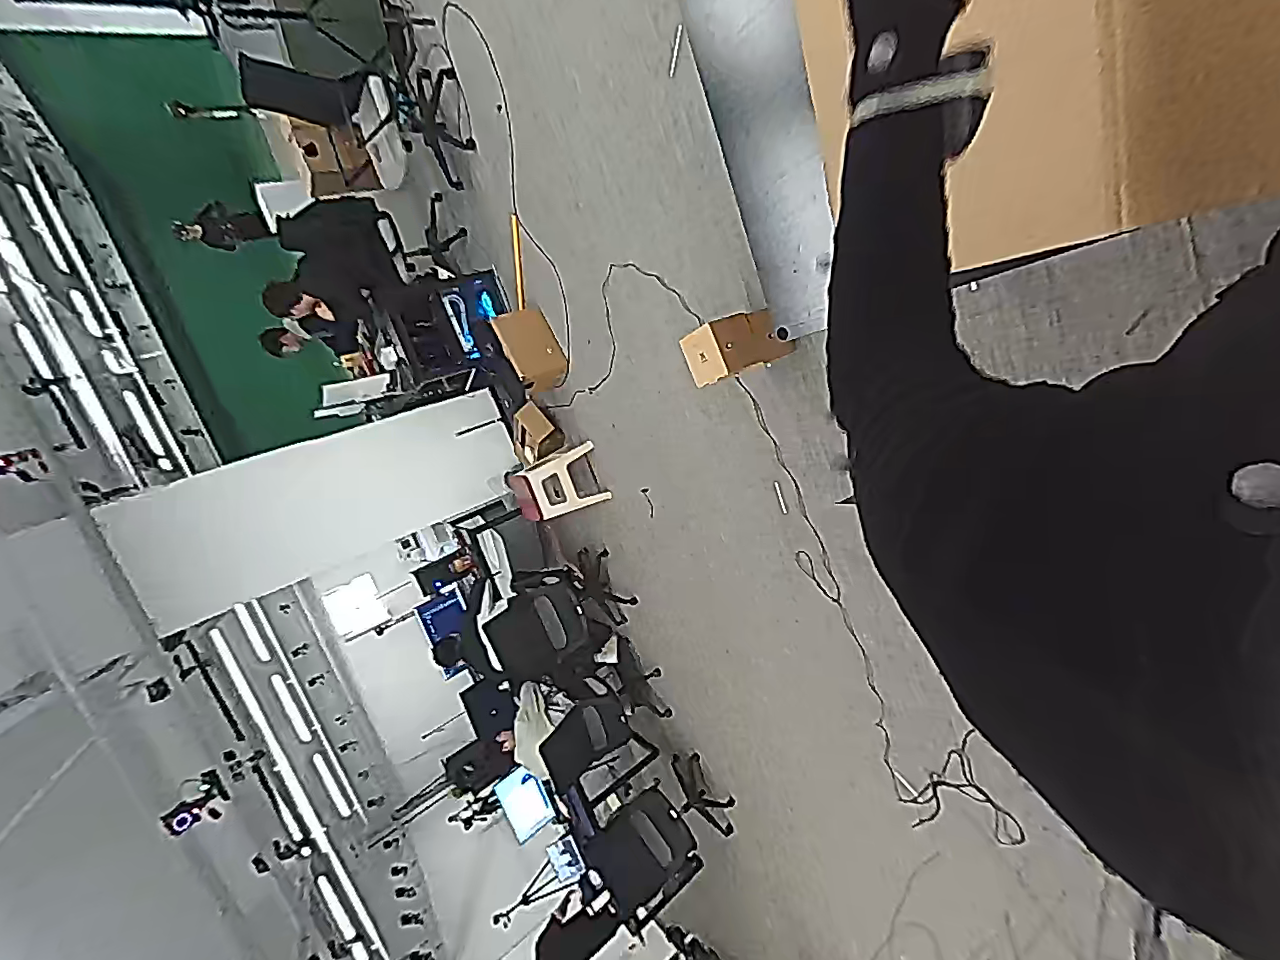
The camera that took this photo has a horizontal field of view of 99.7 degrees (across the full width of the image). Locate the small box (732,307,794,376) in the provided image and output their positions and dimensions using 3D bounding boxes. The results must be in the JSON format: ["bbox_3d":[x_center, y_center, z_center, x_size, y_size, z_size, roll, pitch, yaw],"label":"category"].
[{"bbox_3d":[0.398,-0.482,1.866,0.168,0.176,0.179,-10,104,59],"label":"small box"}]

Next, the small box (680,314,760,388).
[{"bbox_3d":[0.268,-0.428,1.786,0.168,0.176,0.179,-16,96,59],"label":"small box"}]
